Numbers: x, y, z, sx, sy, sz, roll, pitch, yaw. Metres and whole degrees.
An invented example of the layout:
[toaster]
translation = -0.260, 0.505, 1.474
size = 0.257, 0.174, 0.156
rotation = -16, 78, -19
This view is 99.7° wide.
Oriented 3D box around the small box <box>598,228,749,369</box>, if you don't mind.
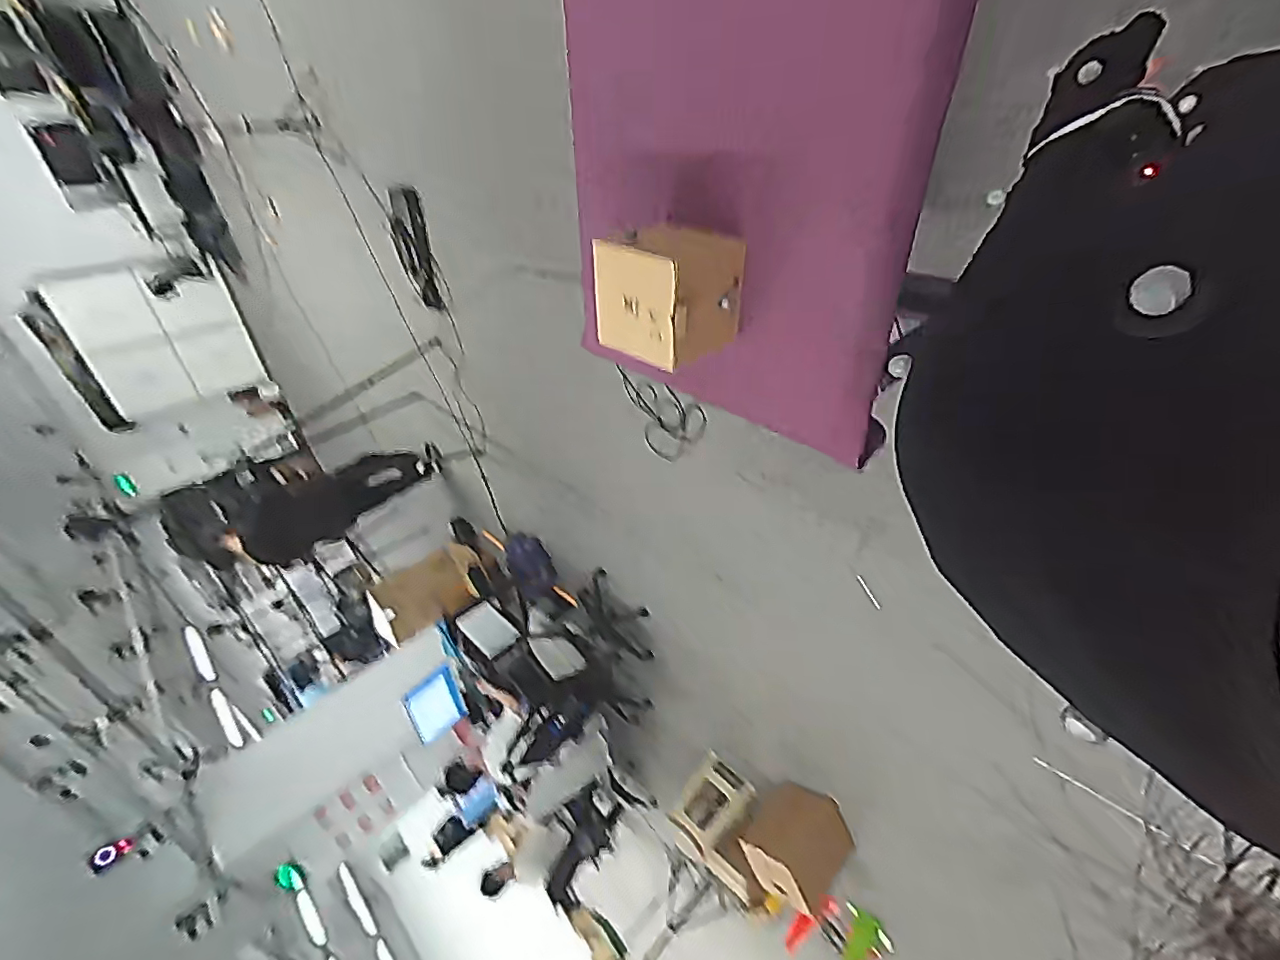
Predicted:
[small box]
translation = 0.052, -0.306, 0.888
size = 0.179, 0.176, 0.168
rotation = 30, 136, 34
